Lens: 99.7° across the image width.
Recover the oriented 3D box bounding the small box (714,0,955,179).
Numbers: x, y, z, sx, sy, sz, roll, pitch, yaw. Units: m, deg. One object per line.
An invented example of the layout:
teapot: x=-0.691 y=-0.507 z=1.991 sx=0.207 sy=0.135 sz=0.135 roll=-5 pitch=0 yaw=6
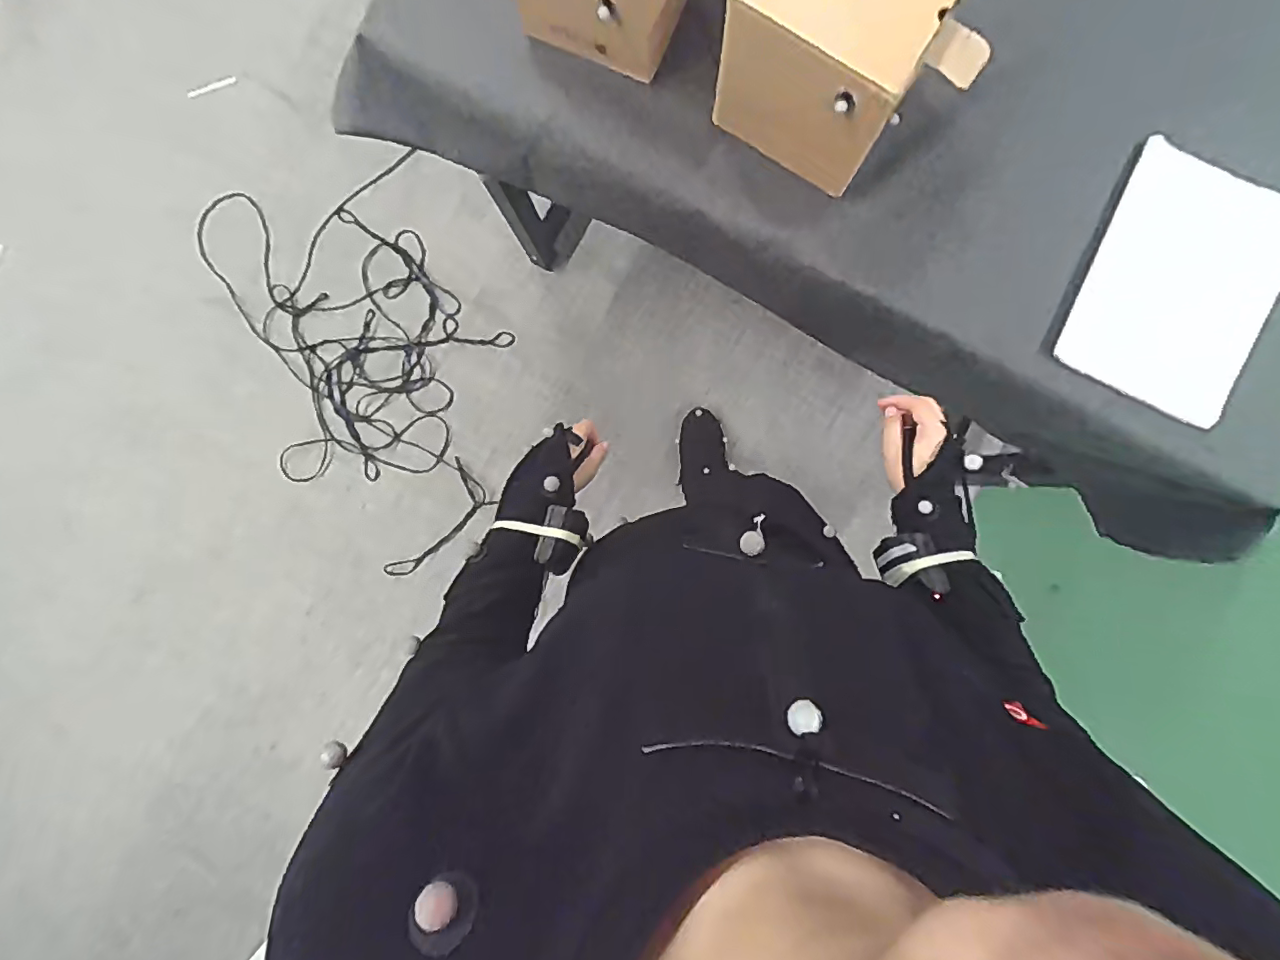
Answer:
small box: x=0.190 y=-0.446 z=0.540 sx=0.179 sy=0.176 sz=0.168 roll=32 pitch=91 yaw=1

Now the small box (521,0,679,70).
small box: x=-0.034 y=-0.576 z=0.548 sx=0.168 sy=0.176 sz=0.179 roll=23 pitch=90 yaw=1
